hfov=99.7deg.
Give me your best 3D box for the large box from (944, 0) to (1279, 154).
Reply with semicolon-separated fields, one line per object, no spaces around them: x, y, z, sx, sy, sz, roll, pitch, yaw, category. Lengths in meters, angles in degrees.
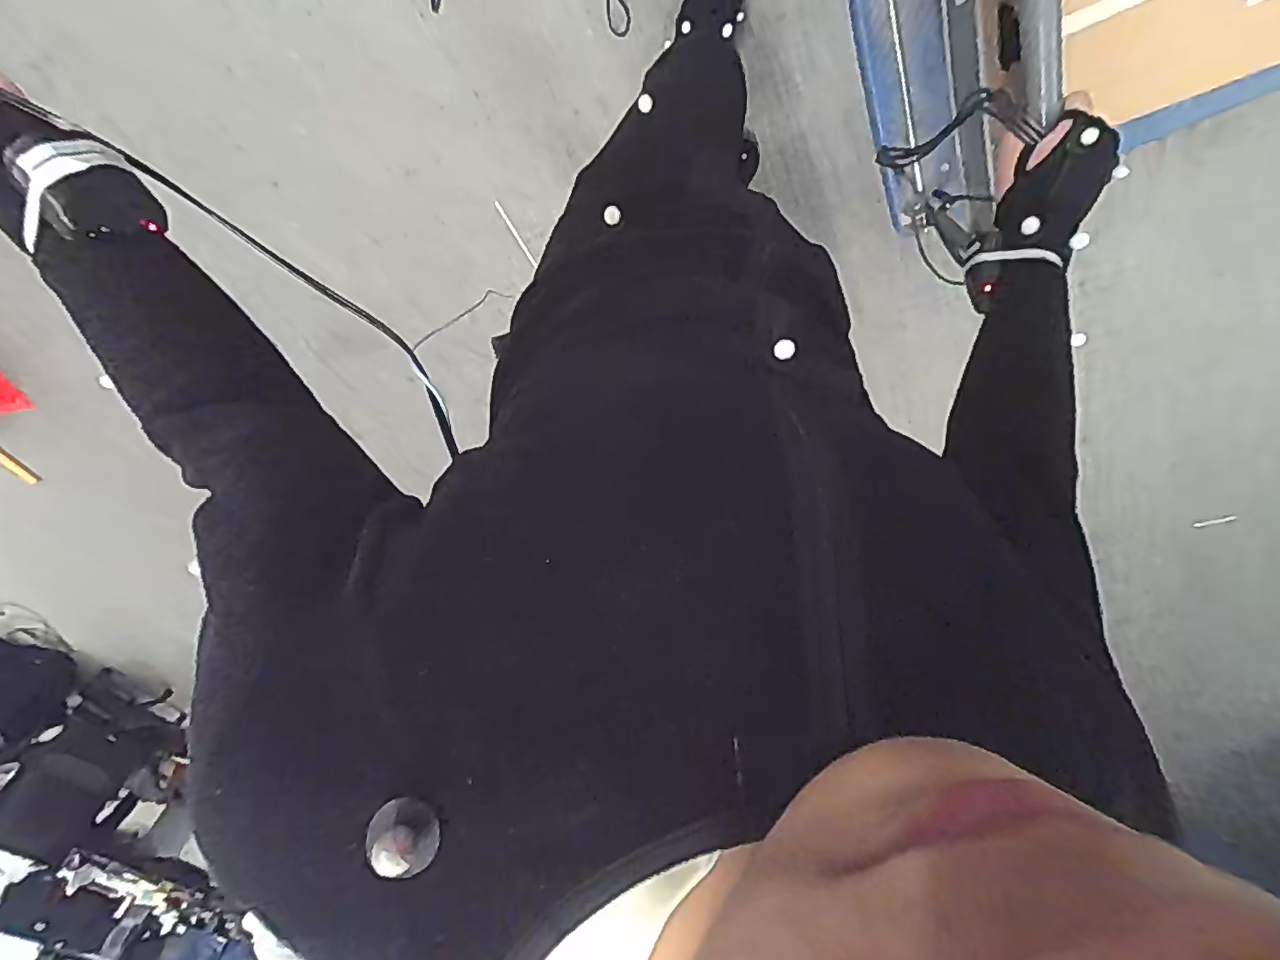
0.719;-0.752;0.800;0.408;0.320;0.320;-15;127;19;large box
